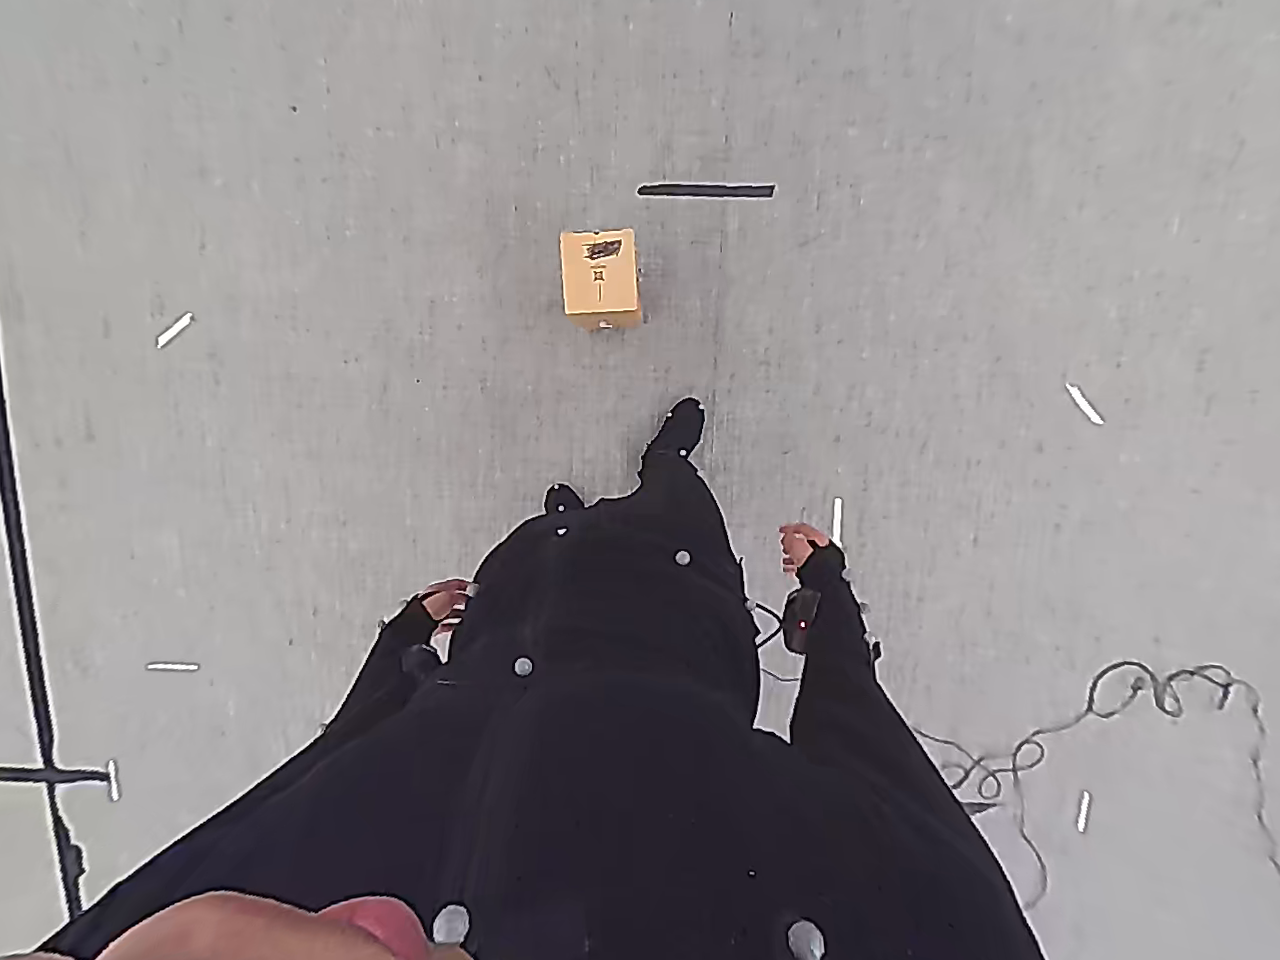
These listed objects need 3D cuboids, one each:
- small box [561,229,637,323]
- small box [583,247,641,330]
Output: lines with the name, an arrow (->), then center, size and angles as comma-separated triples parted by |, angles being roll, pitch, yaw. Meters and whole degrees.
small box -> -0.091, -0.475, 1.277 | 0.168, 0.176, 0.179 | -2, 99, 1
small box -> -0.084, -0.504, 1.438 | 0.168, 0.176, 0.179 | -4, 99, 1
